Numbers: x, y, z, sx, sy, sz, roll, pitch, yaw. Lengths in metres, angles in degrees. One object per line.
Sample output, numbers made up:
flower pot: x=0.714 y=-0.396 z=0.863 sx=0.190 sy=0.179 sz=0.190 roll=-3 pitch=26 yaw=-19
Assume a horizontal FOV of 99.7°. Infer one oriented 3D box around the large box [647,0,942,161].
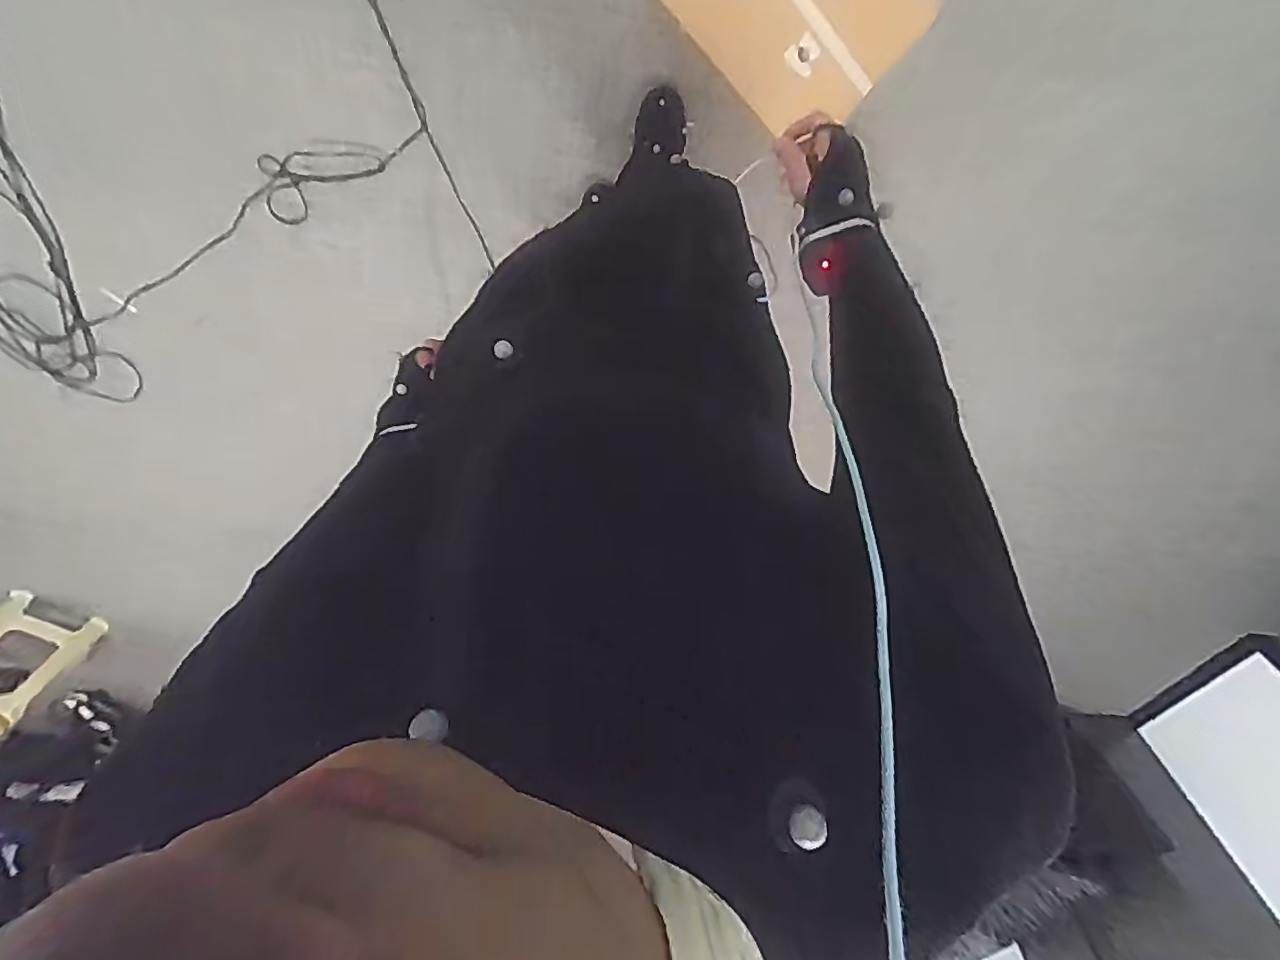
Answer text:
large box: x=0.262 y=-0.902 z=1.020 sx=0.408 sy=0.320 sz=0.320 roll=34 pitch=122 yaw=-25
